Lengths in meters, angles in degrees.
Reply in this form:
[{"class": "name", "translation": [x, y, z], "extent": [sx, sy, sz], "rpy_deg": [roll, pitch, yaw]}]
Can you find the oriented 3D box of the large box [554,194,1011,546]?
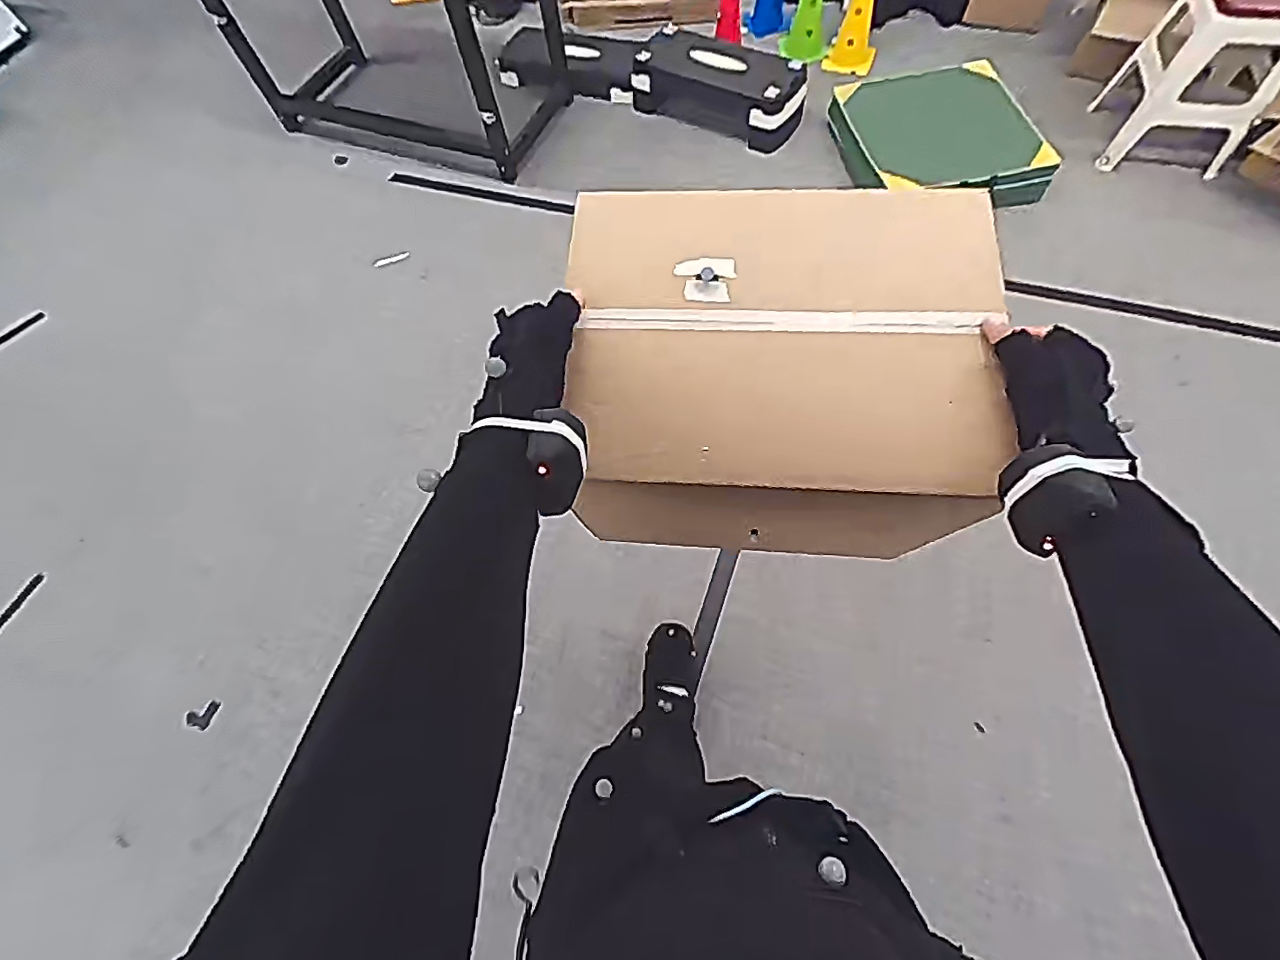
[{"class": "large box", "translation": [0.144, -0.102, 0.660], "extent": [0.408, 0.320, 0.320], "rpy_deg": [3, 72, 8]}]
